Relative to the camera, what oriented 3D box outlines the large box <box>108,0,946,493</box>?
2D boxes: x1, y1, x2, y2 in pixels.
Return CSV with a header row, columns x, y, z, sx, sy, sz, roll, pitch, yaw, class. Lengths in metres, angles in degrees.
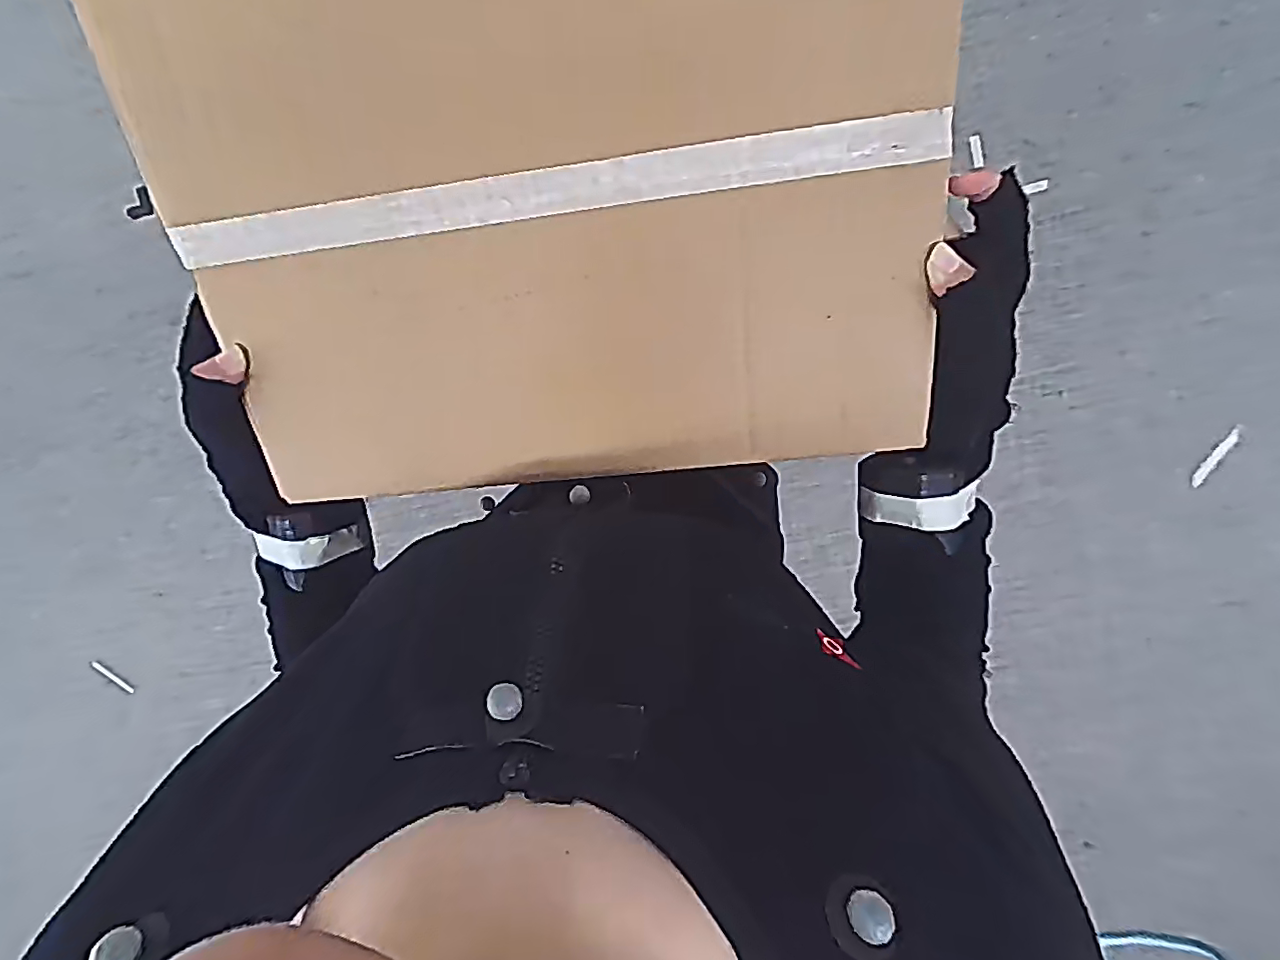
x,y,z,sx,sy,sz,roll,pitch,yaw,class
-0.044,-0.207,0.424,0.408,0.320,0.320,-5,113,6,large box
